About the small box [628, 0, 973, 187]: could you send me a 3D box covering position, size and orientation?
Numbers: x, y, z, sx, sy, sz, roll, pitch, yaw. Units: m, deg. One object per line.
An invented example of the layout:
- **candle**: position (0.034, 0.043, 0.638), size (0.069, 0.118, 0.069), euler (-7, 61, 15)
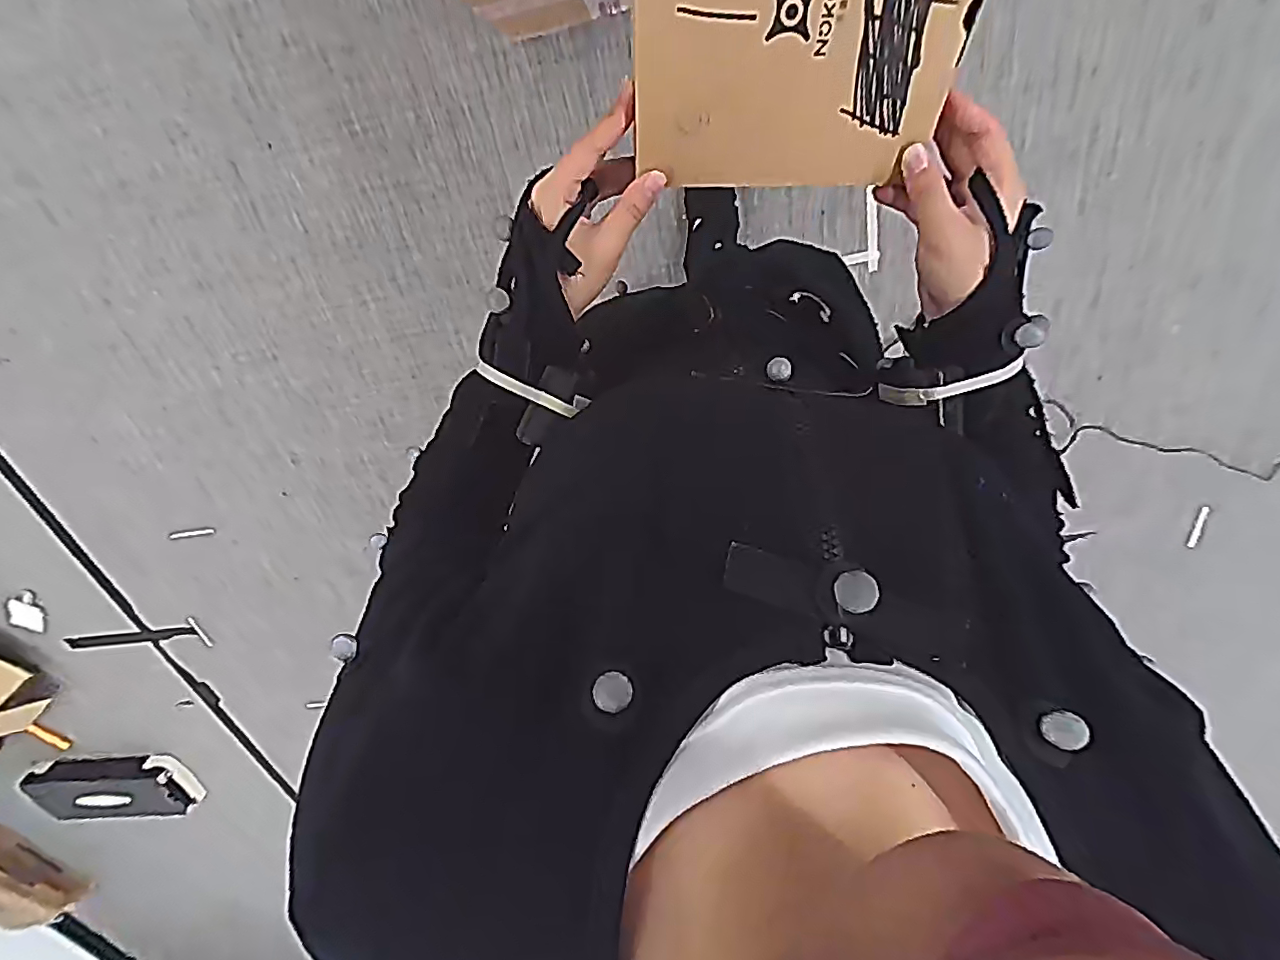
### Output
- **small box**: position (0.081, -0.300, 0.327), size (0.179, 0.176, 0.168), euler (-1, 141, 0)
